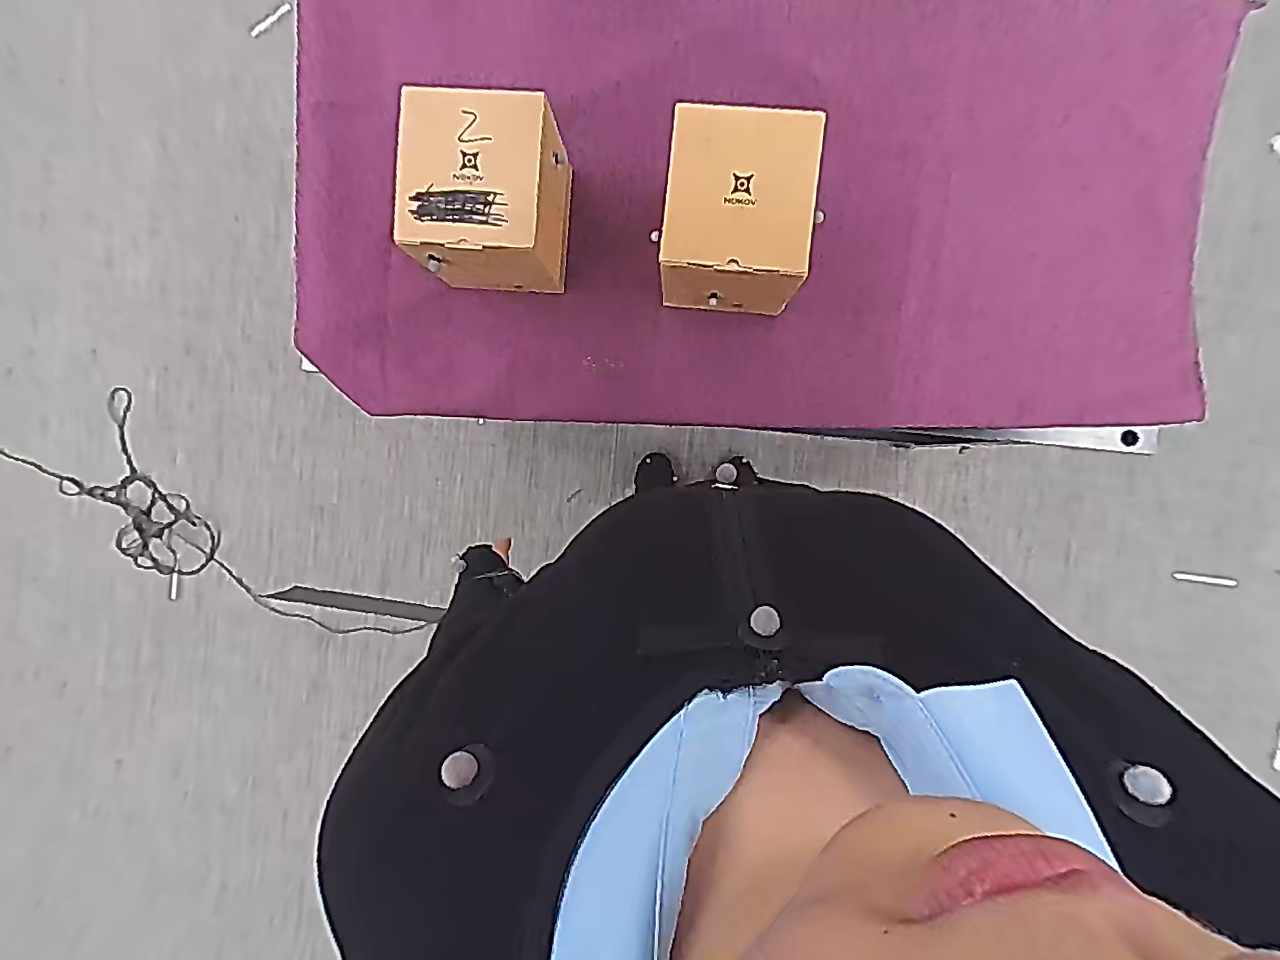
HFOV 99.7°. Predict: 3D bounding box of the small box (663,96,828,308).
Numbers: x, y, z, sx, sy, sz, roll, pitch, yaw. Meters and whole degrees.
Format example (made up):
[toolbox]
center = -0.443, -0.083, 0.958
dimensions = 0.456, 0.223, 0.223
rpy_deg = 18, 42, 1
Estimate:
[small box]
center = 0.118, -0.328, 0.669
dimensions = 0.168, 0.176, 0.179
rpy_deg = 6, 94, 3
